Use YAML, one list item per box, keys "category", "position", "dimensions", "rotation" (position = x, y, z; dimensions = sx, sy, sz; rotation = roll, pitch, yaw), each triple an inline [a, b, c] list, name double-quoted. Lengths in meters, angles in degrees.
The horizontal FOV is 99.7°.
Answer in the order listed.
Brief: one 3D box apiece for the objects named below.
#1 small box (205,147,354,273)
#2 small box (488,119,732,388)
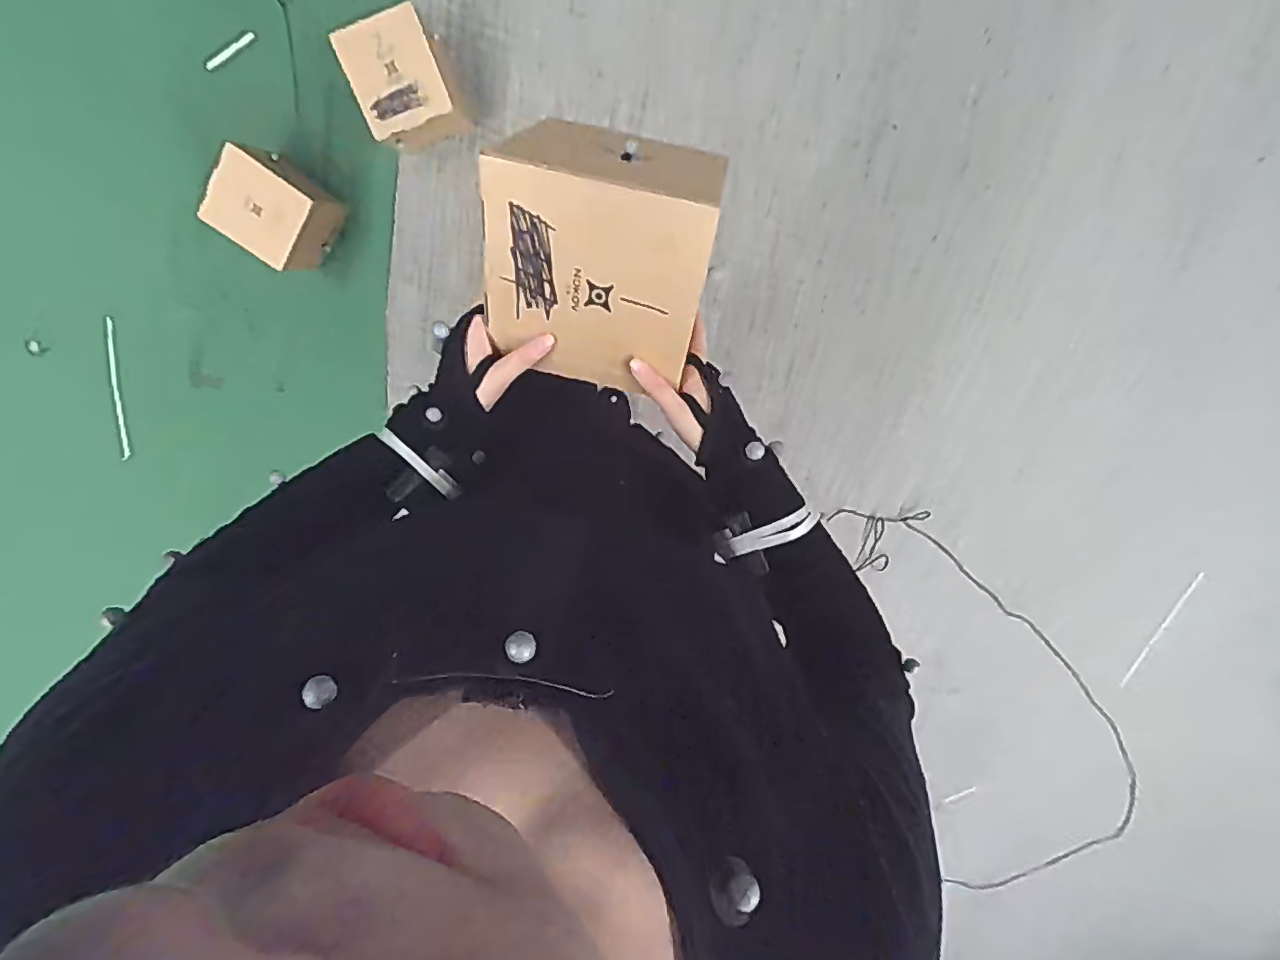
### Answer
- category: "small box"
  position: [-0.758, -0.563, 1.155]
  dimensions: [0.179, 0.176, 0.168]
  rotation: [35, 108, -15]
- category: "small box"
  position: [-0.023, -0.212, 0.492]
  dimensions: [0.179, 0.176, 0.168]
  rotation: [13, 131, 1]
